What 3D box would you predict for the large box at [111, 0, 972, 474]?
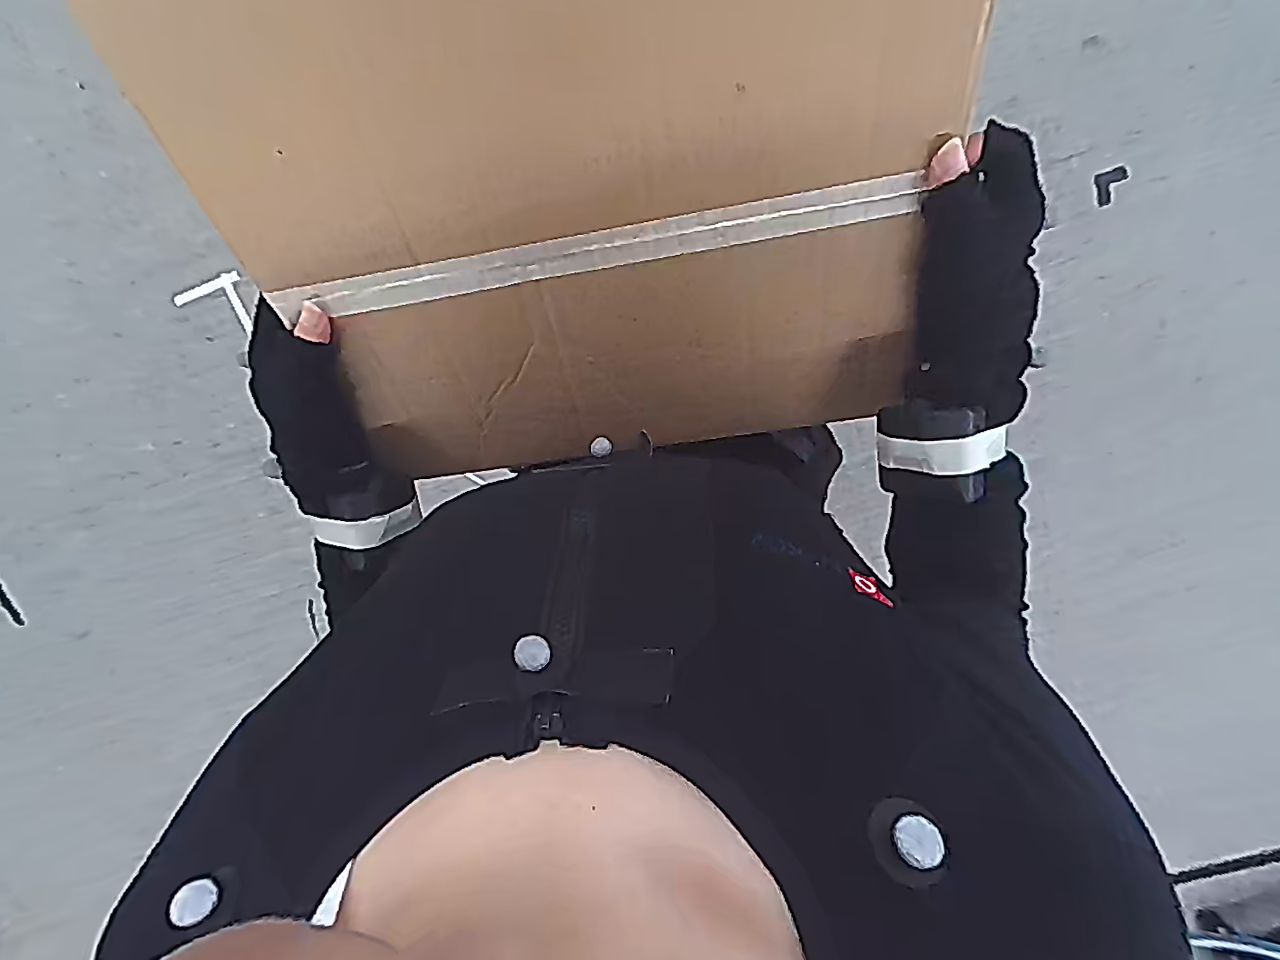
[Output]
[{"bbox_3d":[-0.027,-0.244,0.434,0.408,0.320,0.320,-8,134,6],"label":"large box"}]
